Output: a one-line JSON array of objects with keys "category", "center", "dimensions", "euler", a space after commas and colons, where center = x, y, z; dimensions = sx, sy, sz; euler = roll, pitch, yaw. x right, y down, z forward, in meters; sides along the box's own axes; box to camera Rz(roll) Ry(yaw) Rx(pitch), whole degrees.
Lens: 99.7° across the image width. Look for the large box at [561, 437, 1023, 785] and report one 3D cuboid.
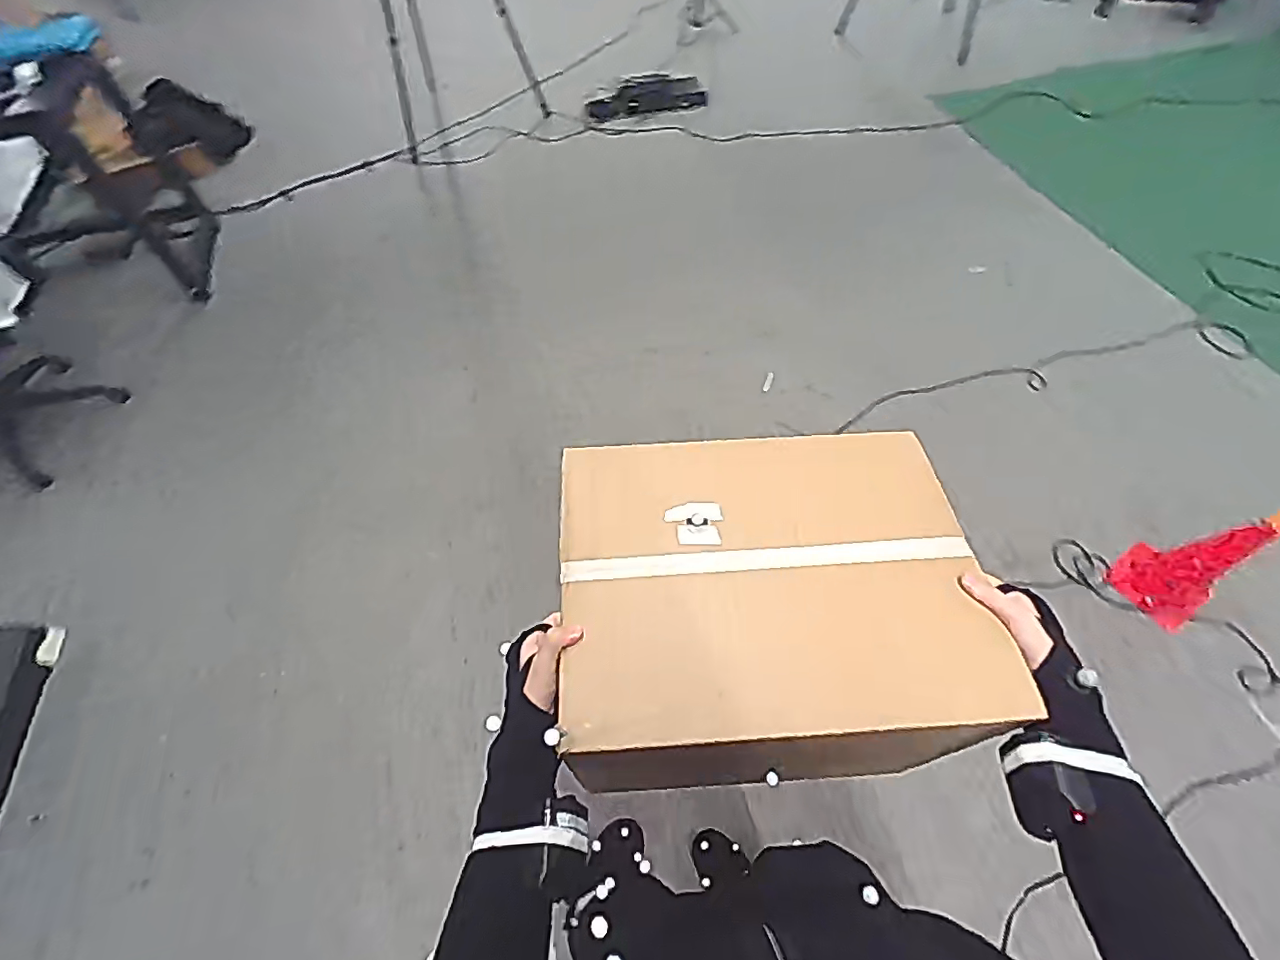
[{"category": "large box", "center": [0.126, 0.172, 0.661], "dimensions": [0.408, 0.320, 0.320], "euler": [-3, 54, -1]}]
